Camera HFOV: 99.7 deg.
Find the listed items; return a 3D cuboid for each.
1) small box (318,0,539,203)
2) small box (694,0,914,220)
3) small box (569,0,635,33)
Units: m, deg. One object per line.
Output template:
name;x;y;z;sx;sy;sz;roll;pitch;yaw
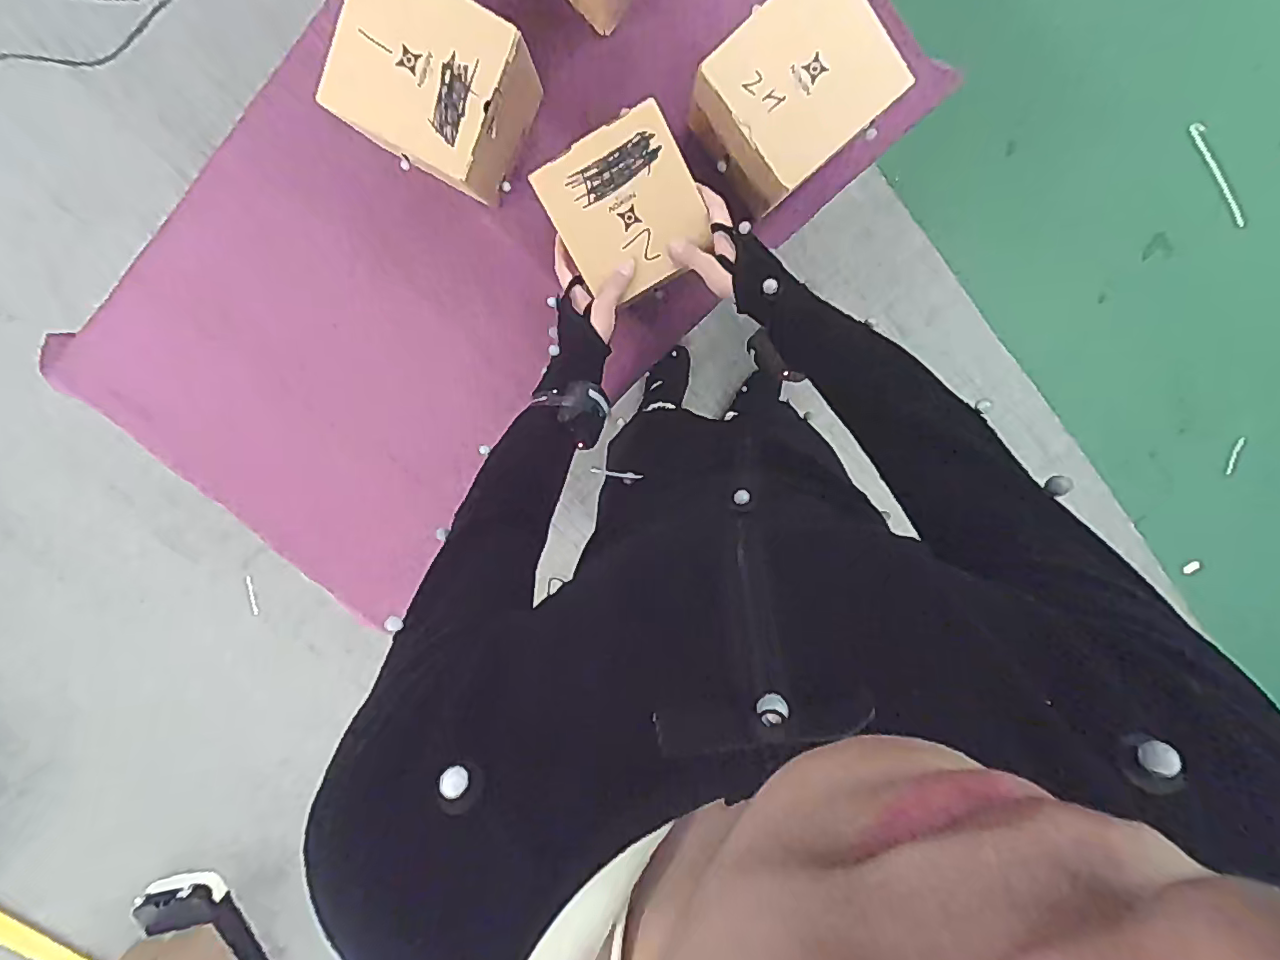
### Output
small box;-0.241;-0.463;0.659;0.179;0.176;0.168;26;105;-8
small box;0.183;-0.454;0.660;0.179;0.176;0.168;-38;102;11
small box;-0.045;-0.668;0.599;0.168;0.176;0.179;40;104;-12
